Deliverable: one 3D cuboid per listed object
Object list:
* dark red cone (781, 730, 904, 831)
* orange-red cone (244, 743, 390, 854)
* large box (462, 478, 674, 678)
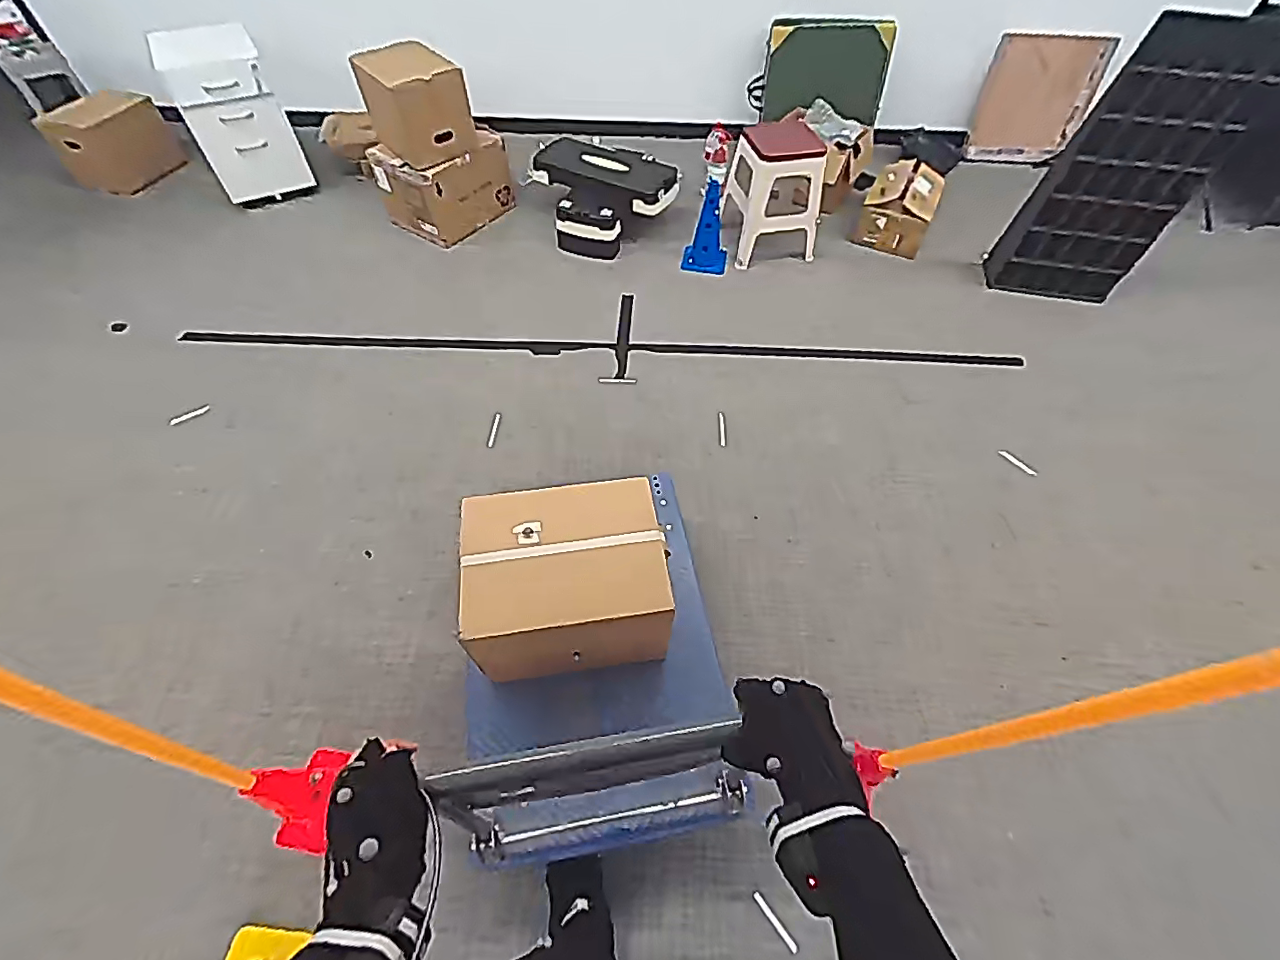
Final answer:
[{"bbox_3d":[0.442,0.598,1.123,0.201,0.394,0.202,4,55,-1],"label":"dark red cone"},{"bbox_3d":[-0.692,0.620,1.100,0.198,0.360,0.199,10,53,4],"label":"orange-red cone"},{"bbox_3d":[-0.155,0.226,1.216,0.408,0.320,0.320,-7,55,-5],"label":"large box"}]
